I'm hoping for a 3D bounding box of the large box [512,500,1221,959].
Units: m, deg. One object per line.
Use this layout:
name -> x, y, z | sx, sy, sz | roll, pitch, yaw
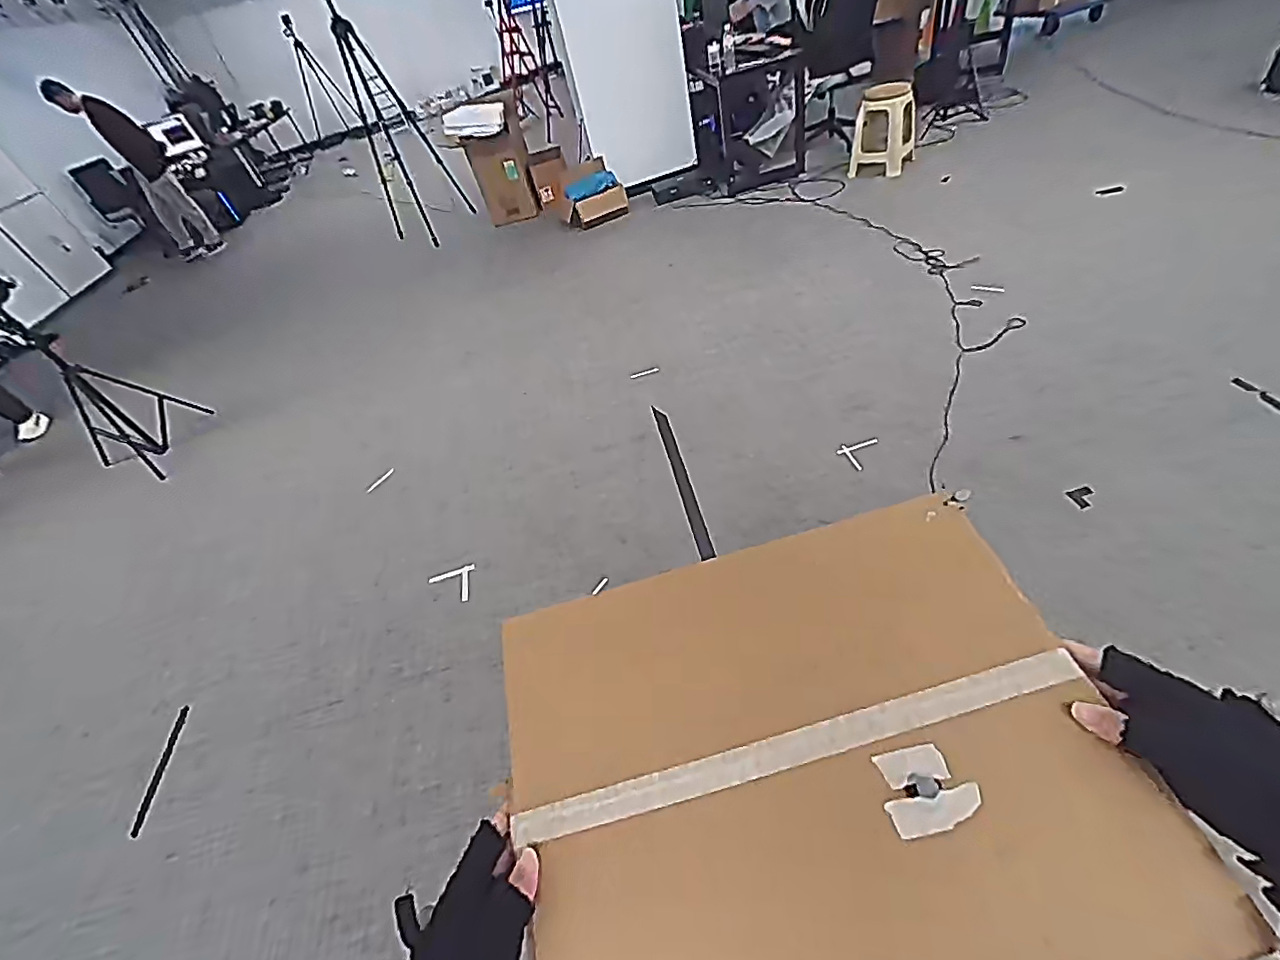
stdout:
large box -> 0.133, 0.277, 0.512 | 0.408, 0.320, 0.320 | -16, 54, -1
